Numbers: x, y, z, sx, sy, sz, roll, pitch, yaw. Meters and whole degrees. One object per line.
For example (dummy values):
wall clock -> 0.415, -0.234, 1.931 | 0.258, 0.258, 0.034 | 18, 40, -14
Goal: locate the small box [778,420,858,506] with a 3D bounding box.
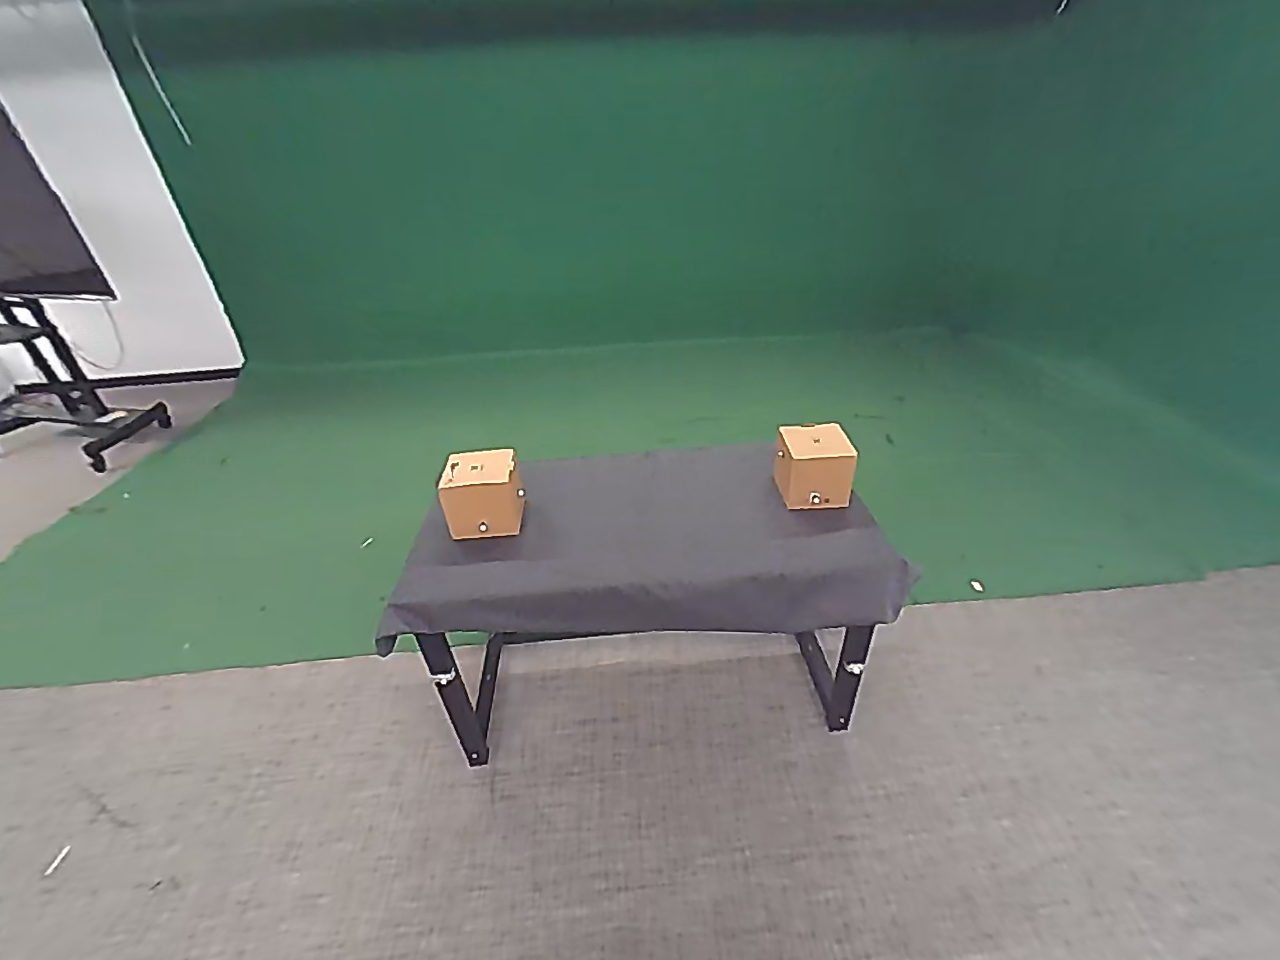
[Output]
small box -> 0.475, -0.046, 1.471 | 0.168, 0.176, 0.179 | -4, 34, 4

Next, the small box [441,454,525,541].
small box -> -0.409, 0.047, 1.444 | 0.179, 0.176, 0.168 | -4, 33, -3
